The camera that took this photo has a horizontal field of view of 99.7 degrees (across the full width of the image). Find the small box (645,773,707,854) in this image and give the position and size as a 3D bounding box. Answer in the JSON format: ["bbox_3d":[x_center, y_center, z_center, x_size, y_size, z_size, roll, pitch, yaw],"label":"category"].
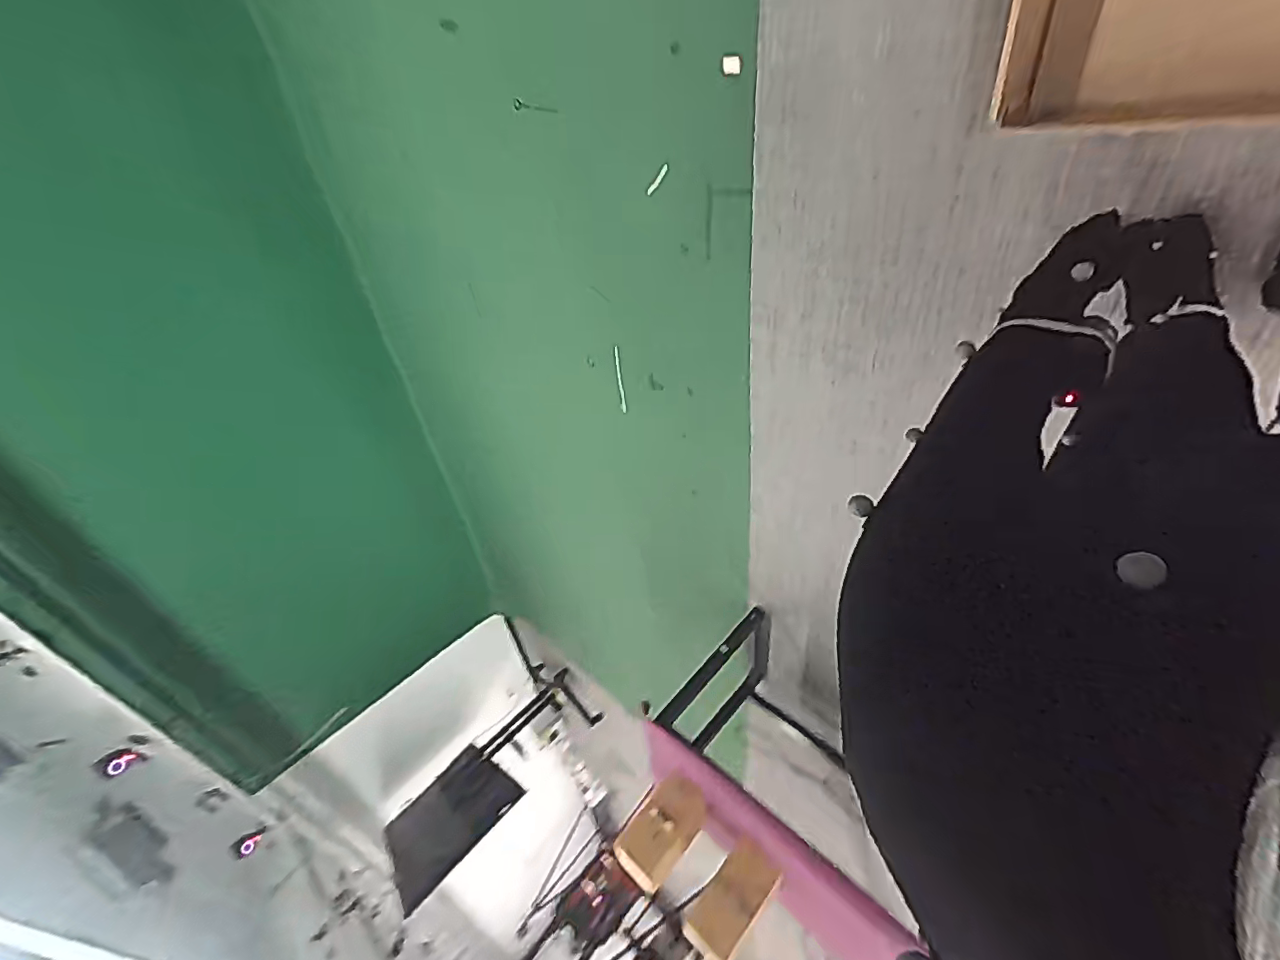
[{"bbox_3d":[0.143,1.270,2.064,0.168,0.176,0.179,24,138,37],"label":"small box"}]

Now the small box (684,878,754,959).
[{"bbox_3d":[0.264,1.468,1.787,0.168,0.176,0.179,28,142,35],"label":"small box"}]

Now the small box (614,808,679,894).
[{"bbox_3d":[0.031,1.356,1.983,0.168,0.176,0.179,25,138,37],"label":"small box"}]
